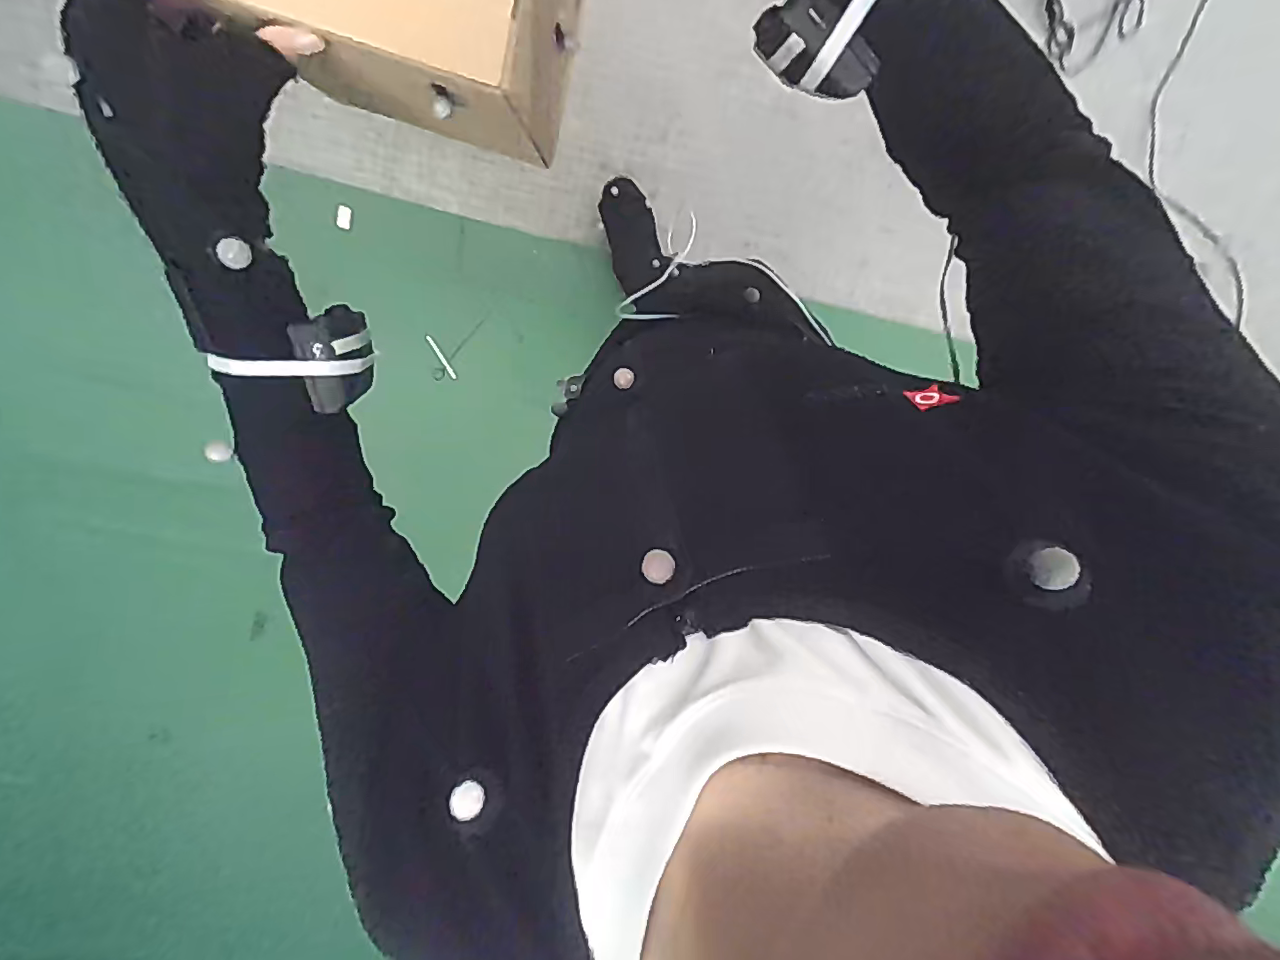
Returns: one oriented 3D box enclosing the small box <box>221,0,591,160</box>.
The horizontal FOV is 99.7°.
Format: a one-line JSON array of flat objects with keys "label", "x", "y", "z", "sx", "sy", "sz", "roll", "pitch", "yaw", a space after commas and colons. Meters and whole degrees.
[{"label": "small box", "x": -0.131, "y": -0.327, "z": 0.335, "sx": 0.179, "sy": 0.176, "sz": 0.168, "roll": 15, "pitch": 106, "yaw": -6}]
